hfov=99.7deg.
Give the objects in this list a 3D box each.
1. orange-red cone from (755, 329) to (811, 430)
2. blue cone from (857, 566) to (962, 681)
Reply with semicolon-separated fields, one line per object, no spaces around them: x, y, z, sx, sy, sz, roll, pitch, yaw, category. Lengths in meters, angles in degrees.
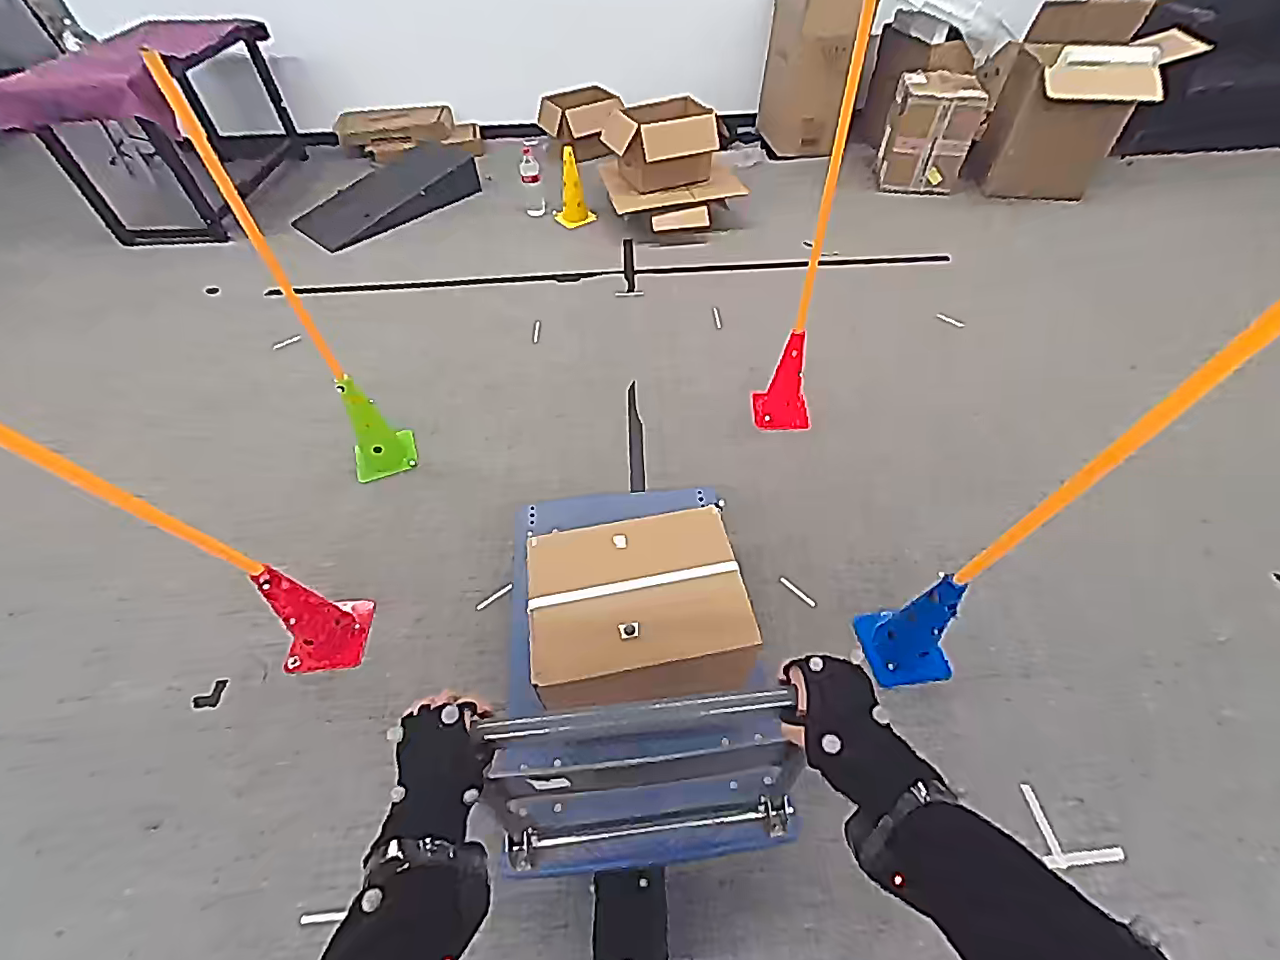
0.528;-0.367;1.882;0.199;0.360;0.198;3;51;3;orange-red cone
0.696;0.332;1.321;0.193;0.380;0.192;-6;50;-3;blue cone
